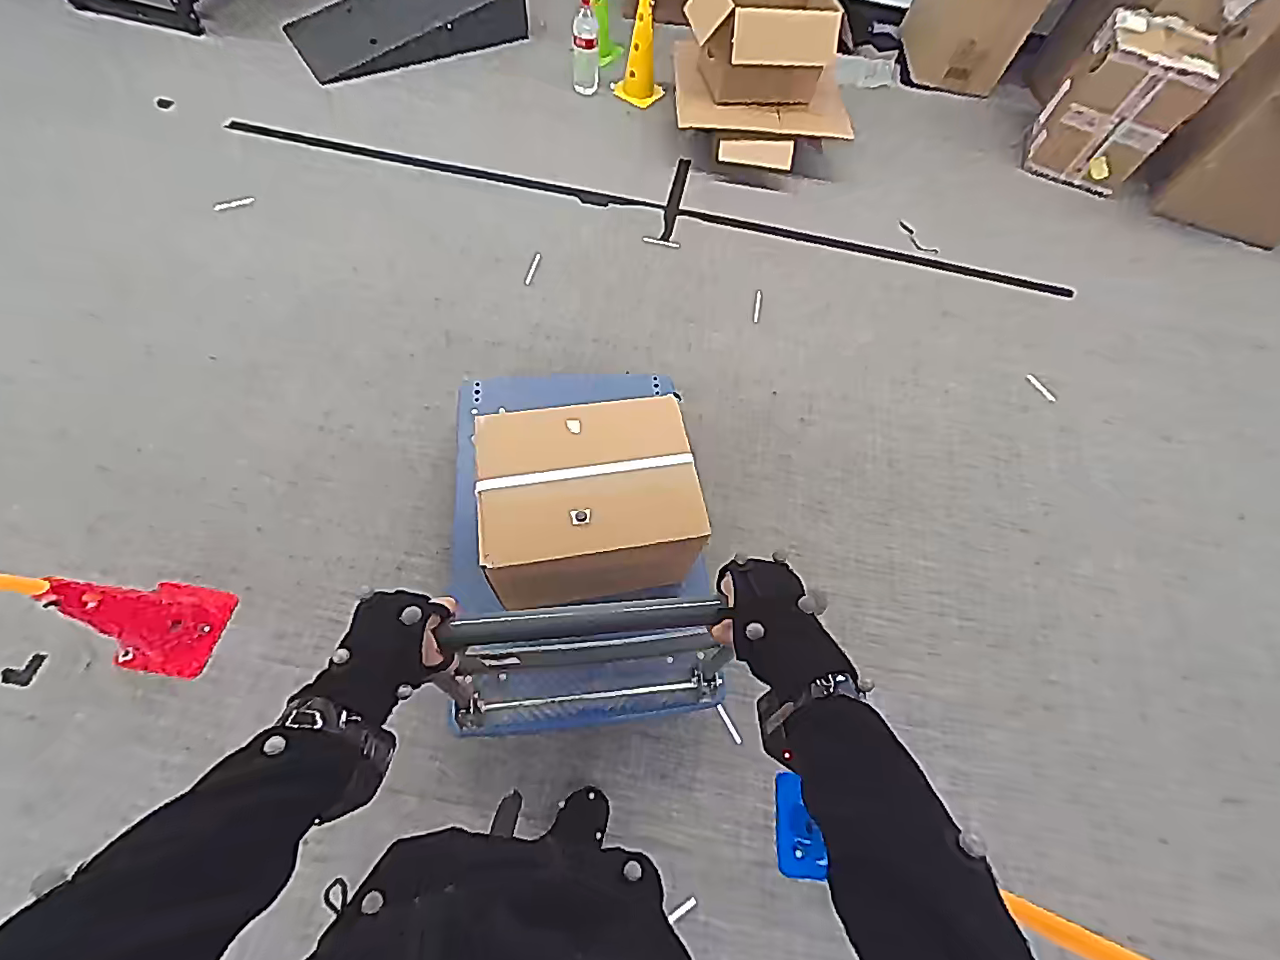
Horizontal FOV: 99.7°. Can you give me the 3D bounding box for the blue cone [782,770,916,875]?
[{"bbox_3d":[0.427,0.683,1.060,0.193,0.380,0.192,9,62,-2],"label":"blue cone"}]
